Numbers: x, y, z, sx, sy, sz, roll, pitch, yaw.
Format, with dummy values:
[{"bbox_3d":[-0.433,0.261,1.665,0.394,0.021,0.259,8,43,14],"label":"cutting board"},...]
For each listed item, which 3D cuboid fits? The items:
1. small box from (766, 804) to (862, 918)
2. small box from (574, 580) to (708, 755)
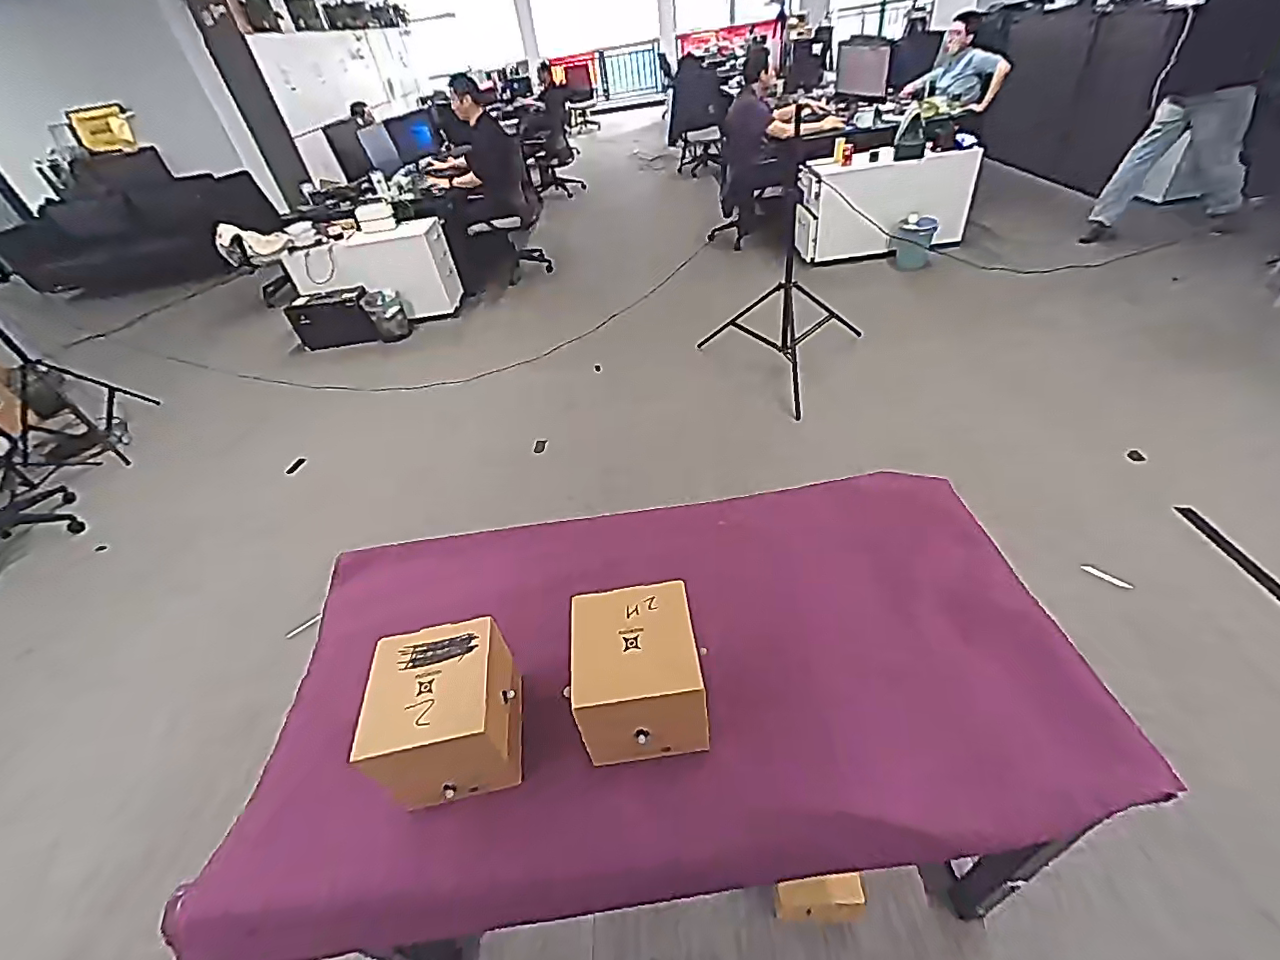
[{"bbox_3d":[0.371,0.836,1.182,0.168,0.176,0.179,-5,40,5],"label":"small box"},{"bbox_3d":[0.002,0.273,0.776,0.168,0.176,0.179,-8,39,0],"label":"small box"}]
